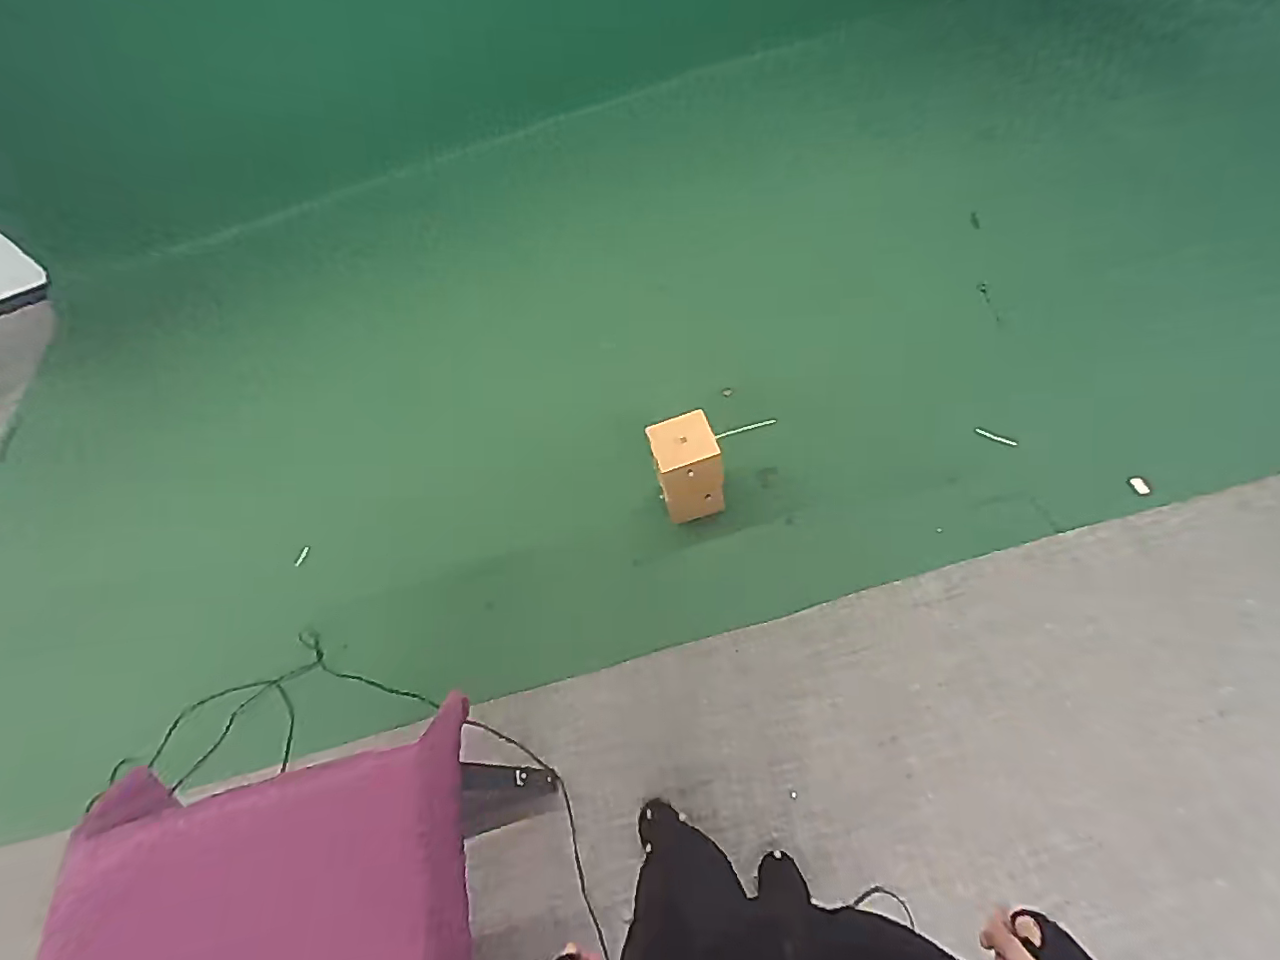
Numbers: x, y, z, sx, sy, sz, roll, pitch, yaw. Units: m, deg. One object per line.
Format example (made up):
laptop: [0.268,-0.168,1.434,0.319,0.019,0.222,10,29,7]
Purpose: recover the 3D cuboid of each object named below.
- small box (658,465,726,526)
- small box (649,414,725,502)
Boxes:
small box: [0.168,0.025,1.721,0.179,0.176,0.168,-17,58,3]
small box: [0.142,-0.060,1.584,0.179,0.176,0.168,-20,58,3]
